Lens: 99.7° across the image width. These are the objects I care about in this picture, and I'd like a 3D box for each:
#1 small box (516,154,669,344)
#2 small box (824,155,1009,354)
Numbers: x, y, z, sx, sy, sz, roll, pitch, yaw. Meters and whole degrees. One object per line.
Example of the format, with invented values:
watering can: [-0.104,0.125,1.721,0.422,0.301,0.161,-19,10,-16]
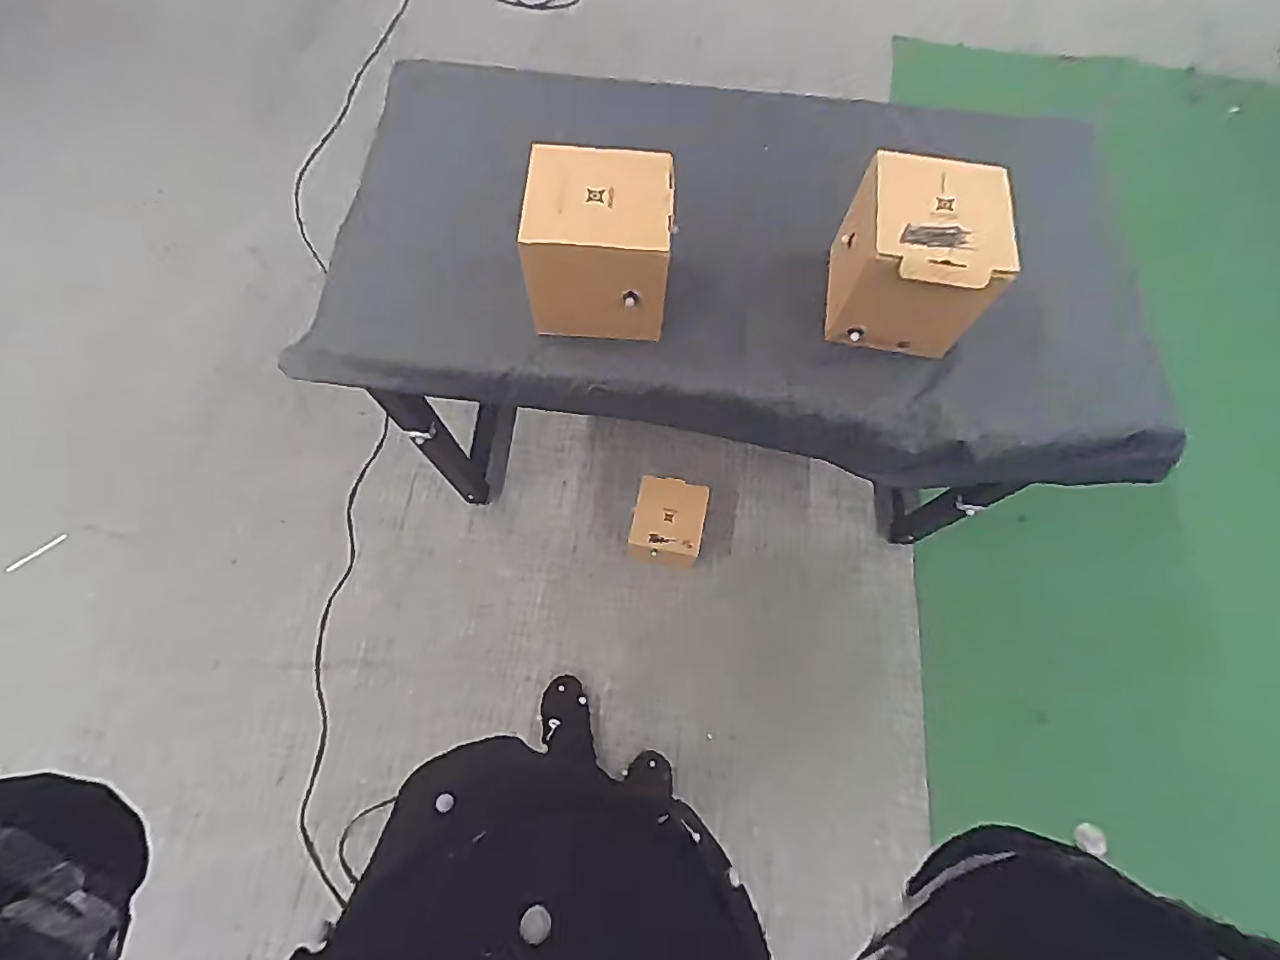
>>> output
small box: [-0.055,-0.298,0.722,0.179,0.176,0.168,1,67,0]
small box: [0.357,-0.293,0.727,0.168,0.176,0.179,9,69,2]
